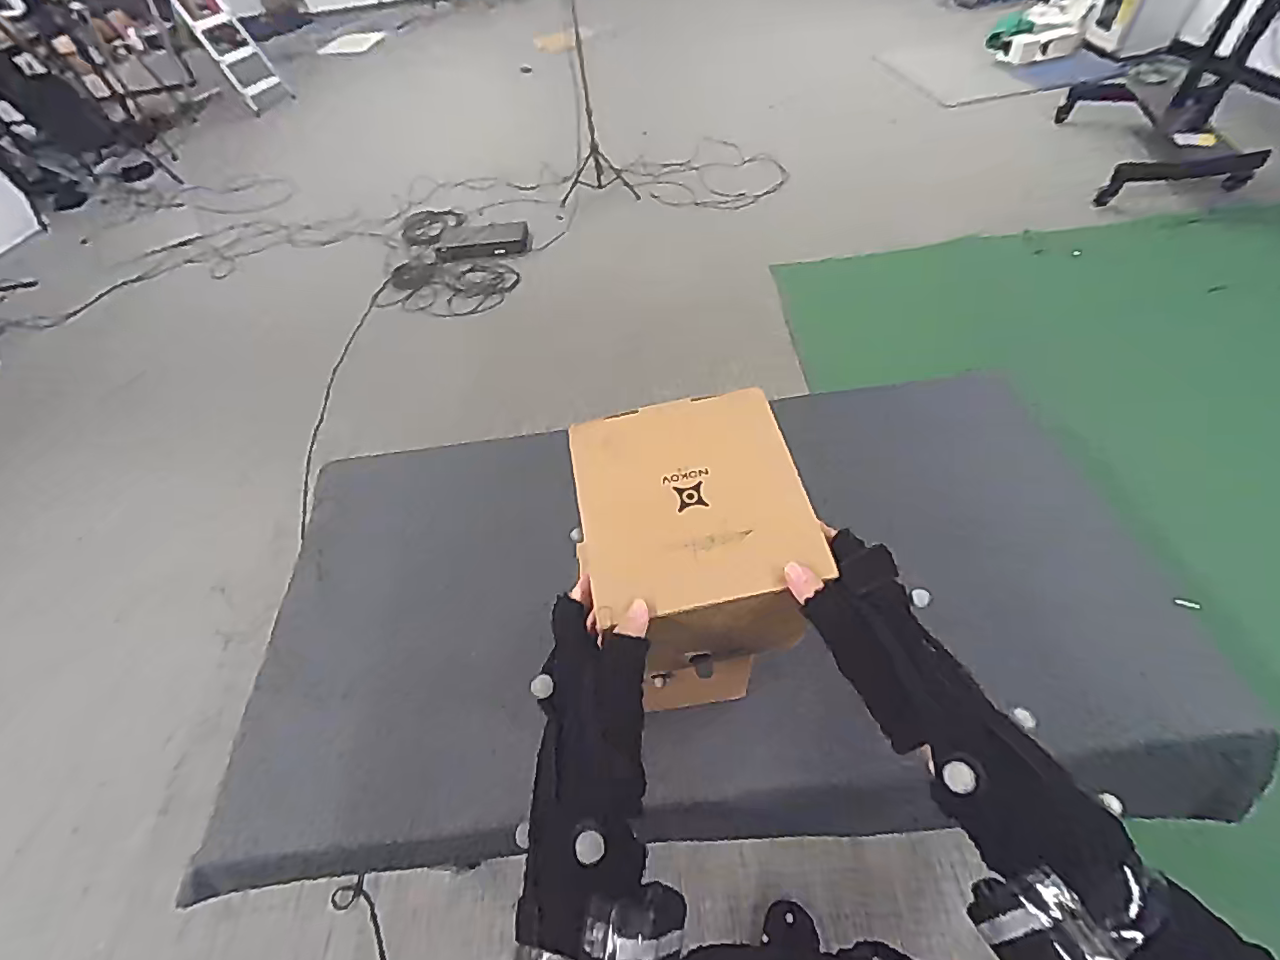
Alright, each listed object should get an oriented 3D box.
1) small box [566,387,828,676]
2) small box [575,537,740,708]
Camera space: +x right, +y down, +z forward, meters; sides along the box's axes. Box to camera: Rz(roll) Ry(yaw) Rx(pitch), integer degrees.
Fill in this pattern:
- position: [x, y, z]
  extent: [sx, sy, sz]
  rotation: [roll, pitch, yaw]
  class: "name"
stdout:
- position: [0.038, 0.051, 0.464]
  extent: [0.168, 0.176, 0.179]
  rotation: [-11, 59, 0]
  class: "small box"
- position: [0.024, 0.165, 0.658]
  extent: [0.179, 0.176, 0.168]
  rotation: [-8, 52, 1]
  class: "small box"
